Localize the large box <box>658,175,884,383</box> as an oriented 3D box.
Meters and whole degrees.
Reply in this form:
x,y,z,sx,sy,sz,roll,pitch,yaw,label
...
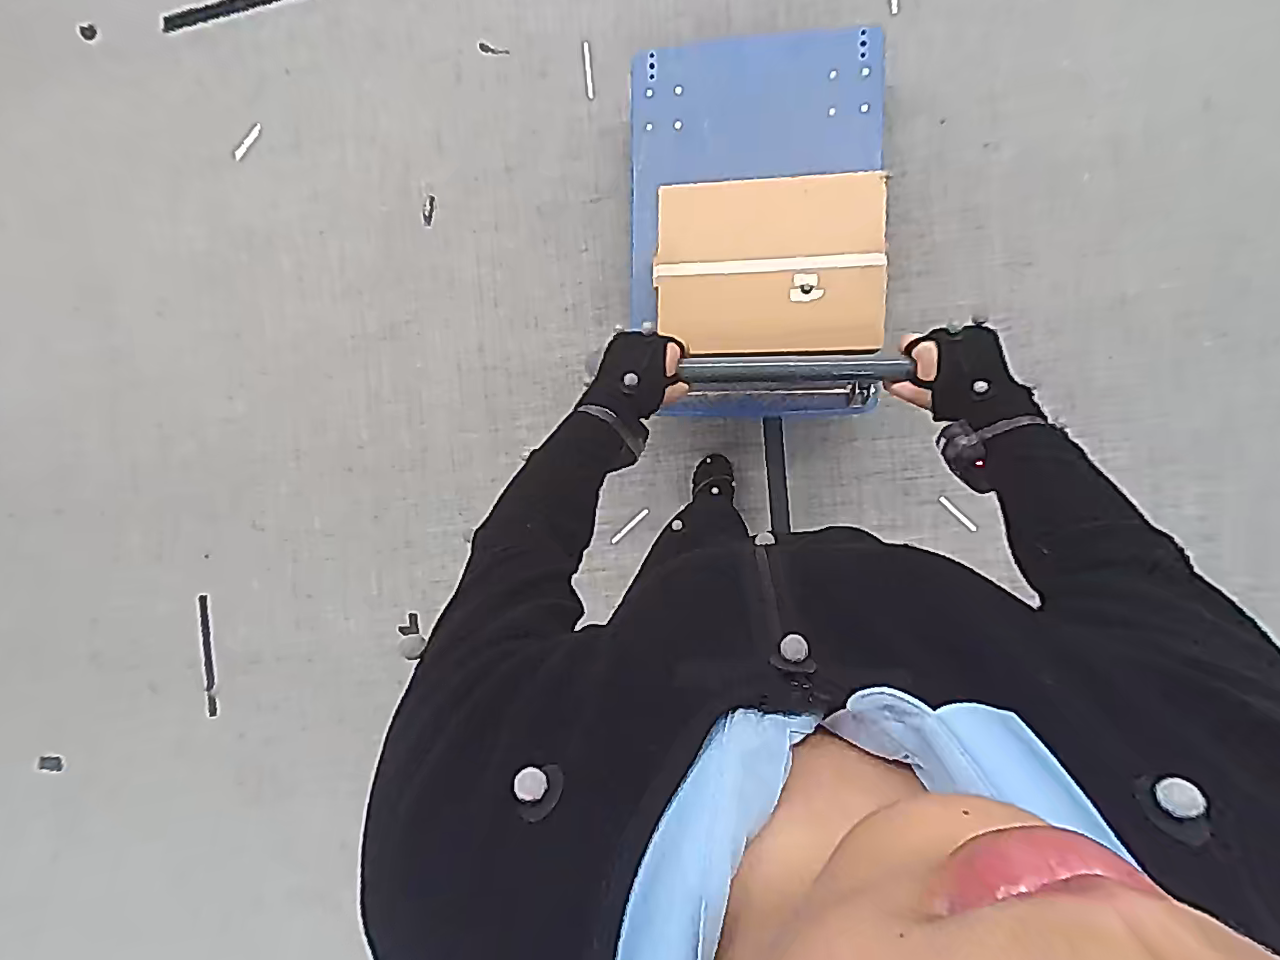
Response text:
x,y,z,sx,sy,sz,roll,pitch,yaw,label
0.250,-0.384,1.125,0.408,0.320,0.320,0,93,8,large box
